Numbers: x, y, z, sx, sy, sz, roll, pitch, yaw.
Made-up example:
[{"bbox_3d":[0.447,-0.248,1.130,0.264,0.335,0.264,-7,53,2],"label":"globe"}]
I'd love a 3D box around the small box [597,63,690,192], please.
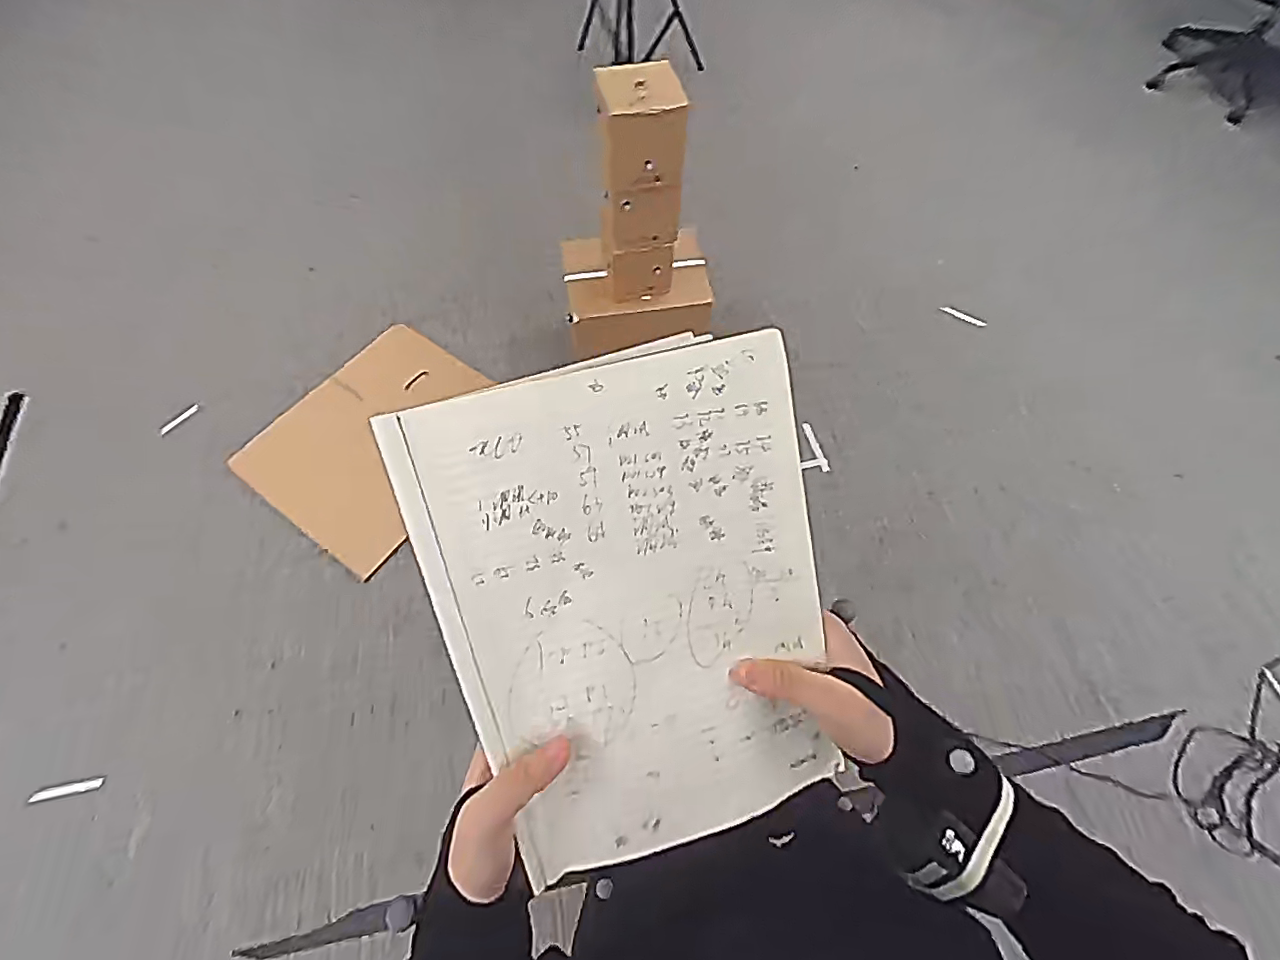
[{"bbox_3d":[0.002,-0.765,1.179,0.168,0.176,0.179,-12,65,-6],"label":"small box"}]

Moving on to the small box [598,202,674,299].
[{"bbox_3d":[-0.013,-0.615,1.472,0.168,0.176,0.179,-13,64,-8],"label":"small box"}]
